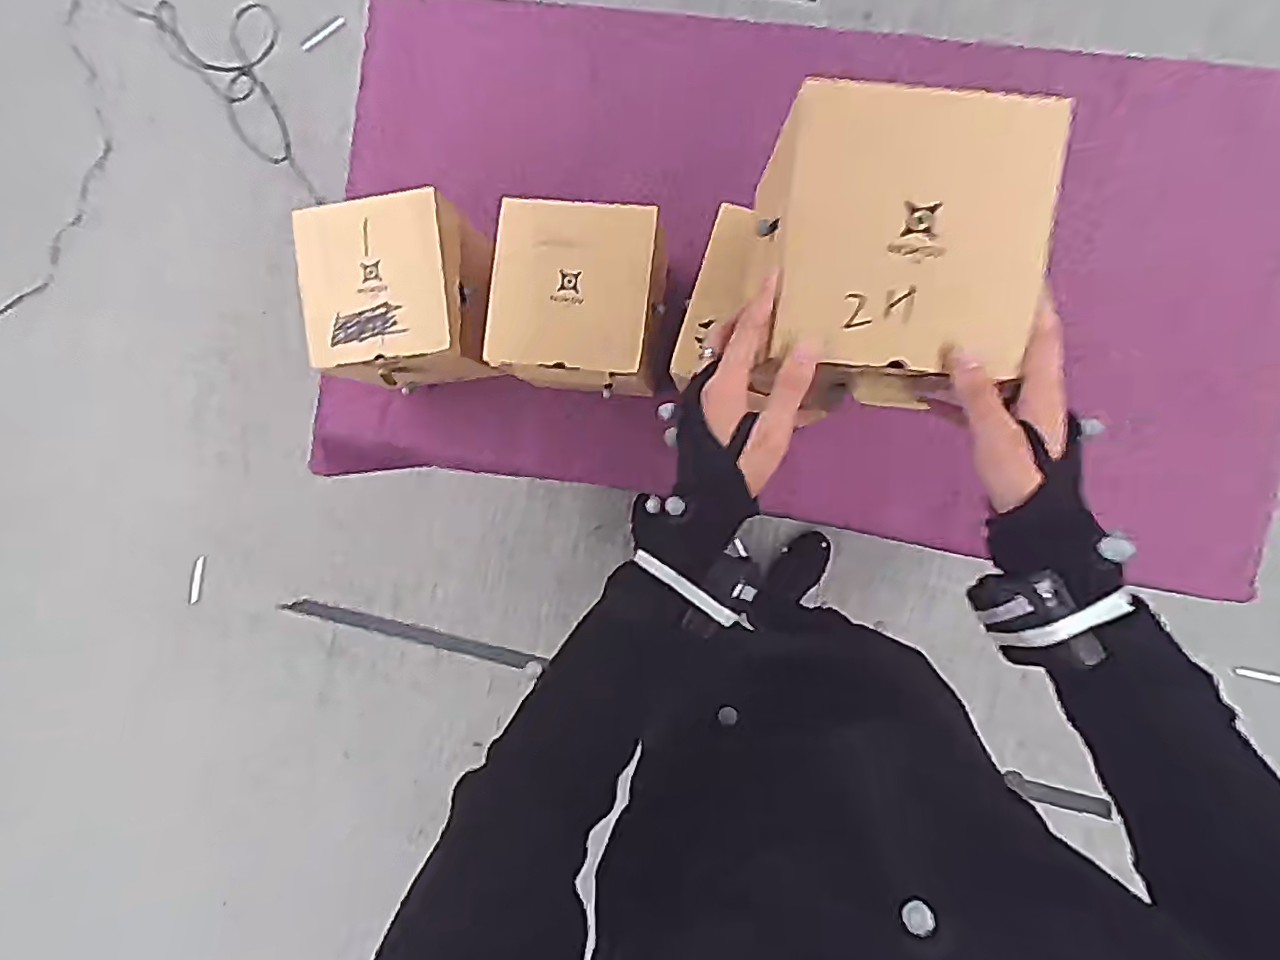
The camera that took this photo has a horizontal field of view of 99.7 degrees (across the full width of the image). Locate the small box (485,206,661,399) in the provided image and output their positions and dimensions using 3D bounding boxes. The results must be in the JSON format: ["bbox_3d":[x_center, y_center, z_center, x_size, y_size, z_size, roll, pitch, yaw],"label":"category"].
[{"bbox_3d":[-0.068,-0.195,0.640,0.168,0.176,0.179,7,93,5],"label":"small box"}]

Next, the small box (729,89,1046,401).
[{"bbox_3d":[0.168,-0.162,0.429,0.168,0.176,0.179,6,96,2],"label":"small box"}]
